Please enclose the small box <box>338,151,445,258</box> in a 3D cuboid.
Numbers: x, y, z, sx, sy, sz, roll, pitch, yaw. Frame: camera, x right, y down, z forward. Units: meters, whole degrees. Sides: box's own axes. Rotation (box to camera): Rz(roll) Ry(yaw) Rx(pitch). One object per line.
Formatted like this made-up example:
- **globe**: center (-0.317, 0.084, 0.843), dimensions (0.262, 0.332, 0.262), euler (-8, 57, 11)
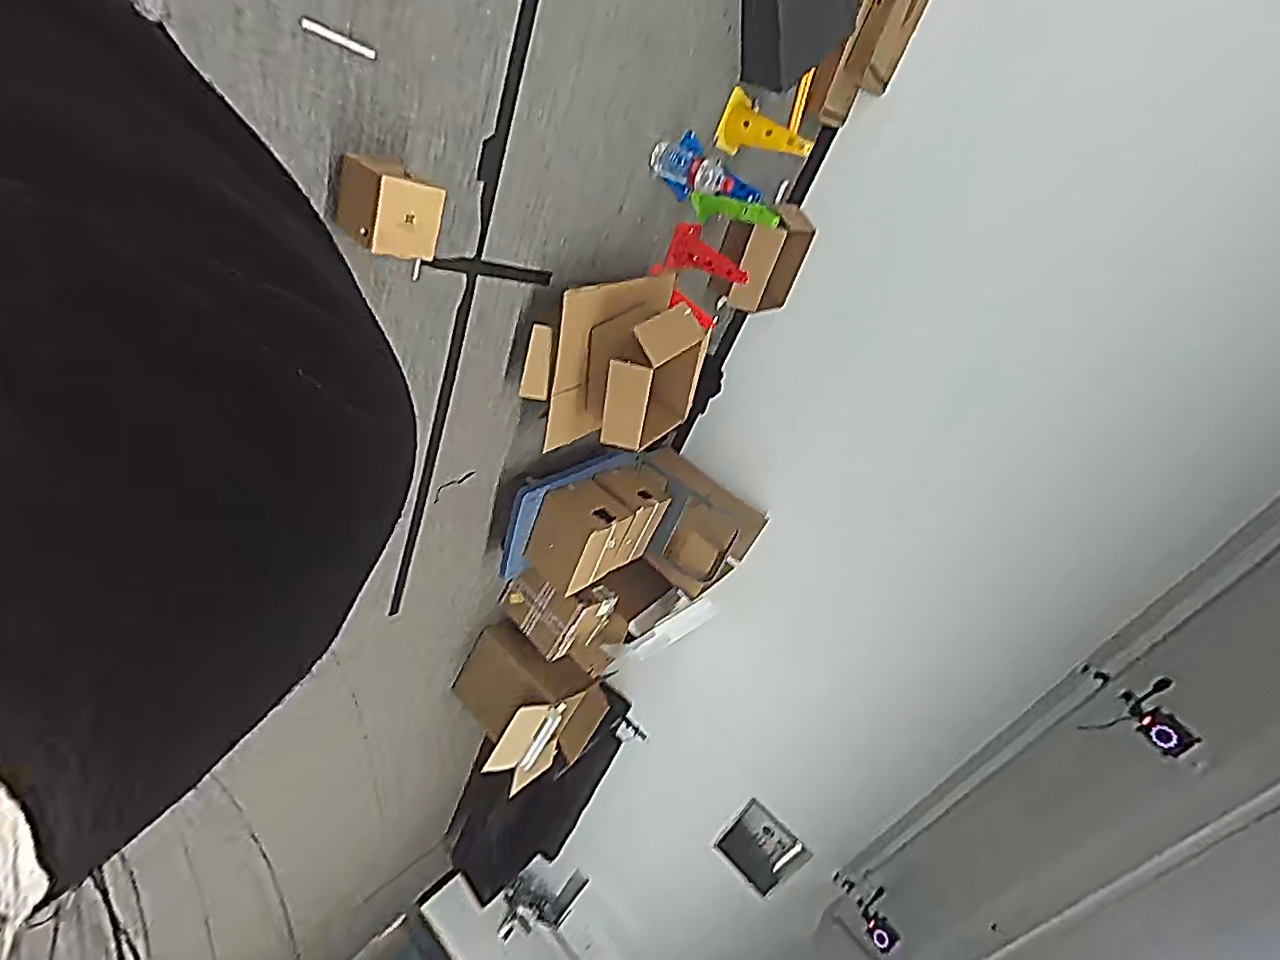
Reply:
- **small box**: center (-0.608, -0.667, 1.314), dimensions (0.168, 0.176, 0.179), euler (-20, 142, -52)
